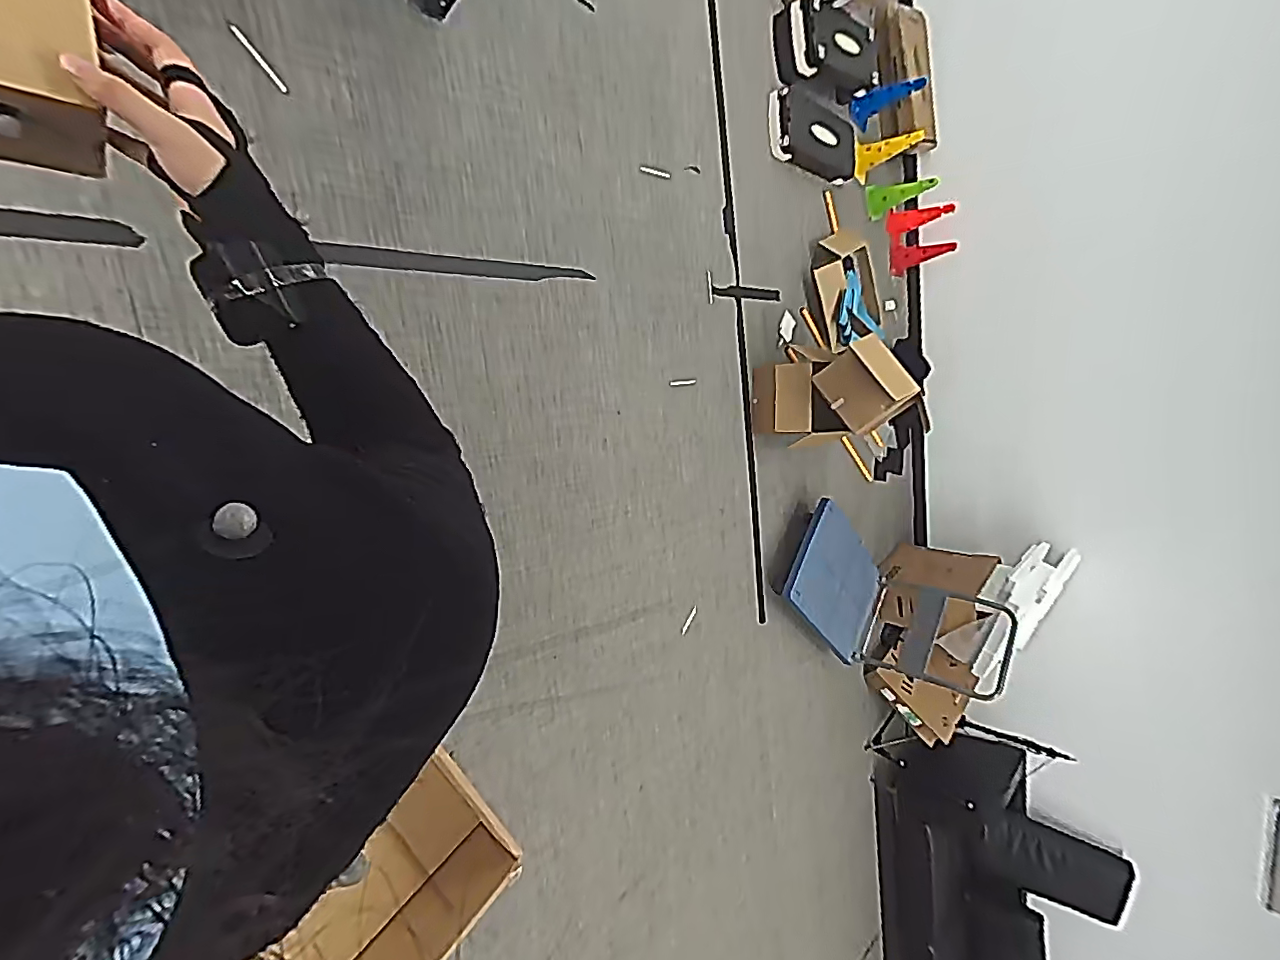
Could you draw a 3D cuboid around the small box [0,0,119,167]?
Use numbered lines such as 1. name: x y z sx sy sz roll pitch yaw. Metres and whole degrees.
1. small box: -0.460 -0.320 0.337 0.179 0.176 0.168 -9 104 -43
